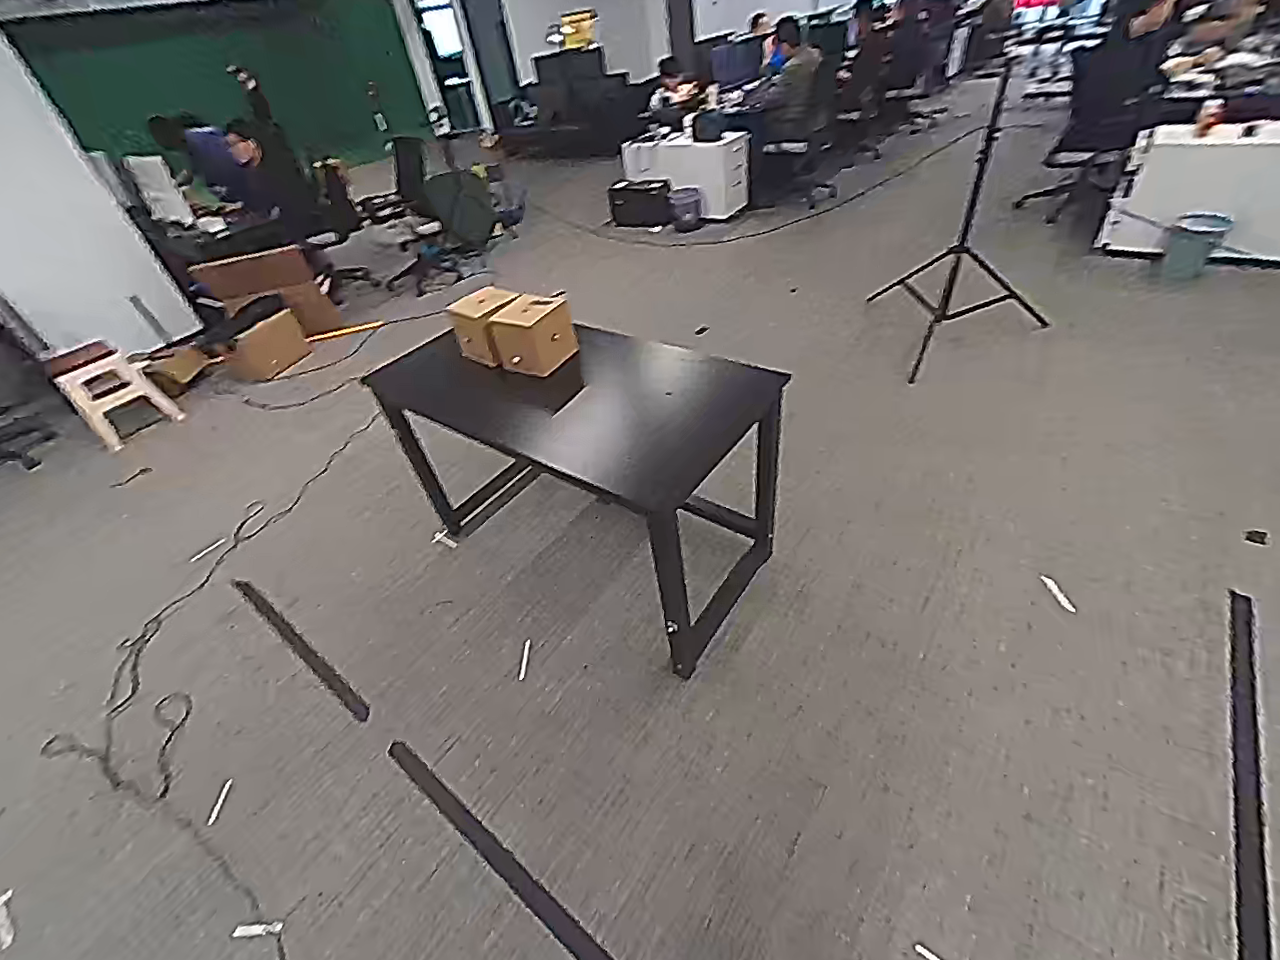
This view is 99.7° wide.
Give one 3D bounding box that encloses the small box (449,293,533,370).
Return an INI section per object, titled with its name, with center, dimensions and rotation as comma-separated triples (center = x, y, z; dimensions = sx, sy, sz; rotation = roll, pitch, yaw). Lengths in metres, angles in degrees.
[small box]
center = -0.471, -0.475, 1.734
dimensions = 0.168, 0.176, 0.179
rotation = 25, 52, 33
